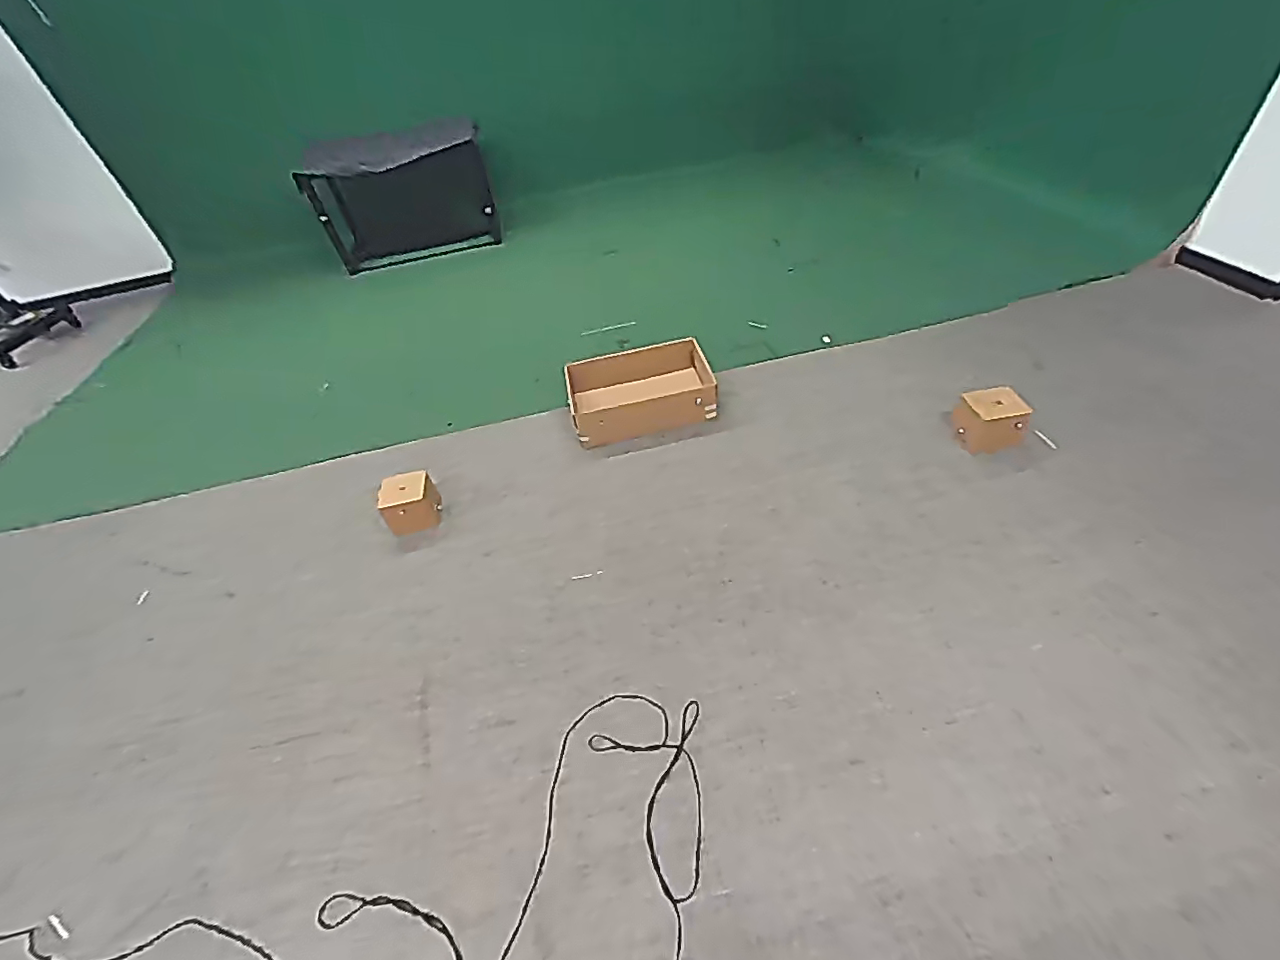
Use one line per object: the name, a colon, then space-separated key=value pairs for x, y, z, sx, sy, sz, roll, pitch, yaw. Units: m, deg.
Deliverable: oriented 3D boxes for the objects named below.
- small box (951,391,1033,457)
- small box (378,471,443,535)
small box: x=1.295 y=-0.205 z=2.002 sx=0.179 sy=0.176 sz=0.168 roll=-9 pitch=44 yaw=2
small box: x=-0.891 y=0.094 z=2.111 sx=0.179 sy=0.176 sz=0.168 roll=-13 pitch=46 yaw=-4
